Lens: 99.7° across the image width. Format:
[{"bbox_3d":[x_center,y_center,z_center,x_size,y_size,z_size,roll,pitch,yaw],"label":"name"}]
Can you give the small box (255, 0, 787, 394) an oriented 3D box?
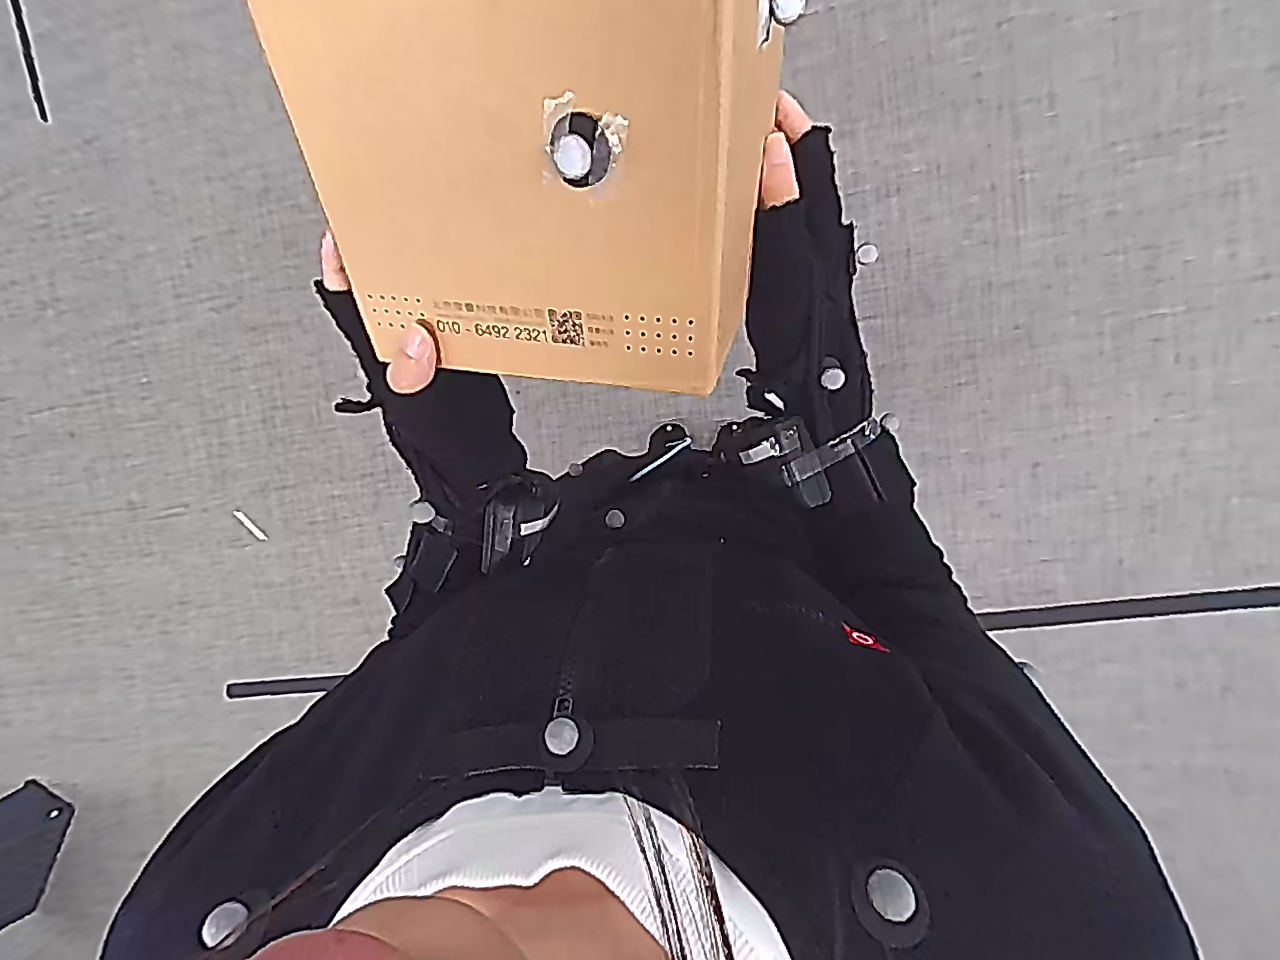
[{"bbox_3d":[-0.025,-0.158,0.260,0.168,0.179,0.176,10,131,15],"label":"small box"}]
